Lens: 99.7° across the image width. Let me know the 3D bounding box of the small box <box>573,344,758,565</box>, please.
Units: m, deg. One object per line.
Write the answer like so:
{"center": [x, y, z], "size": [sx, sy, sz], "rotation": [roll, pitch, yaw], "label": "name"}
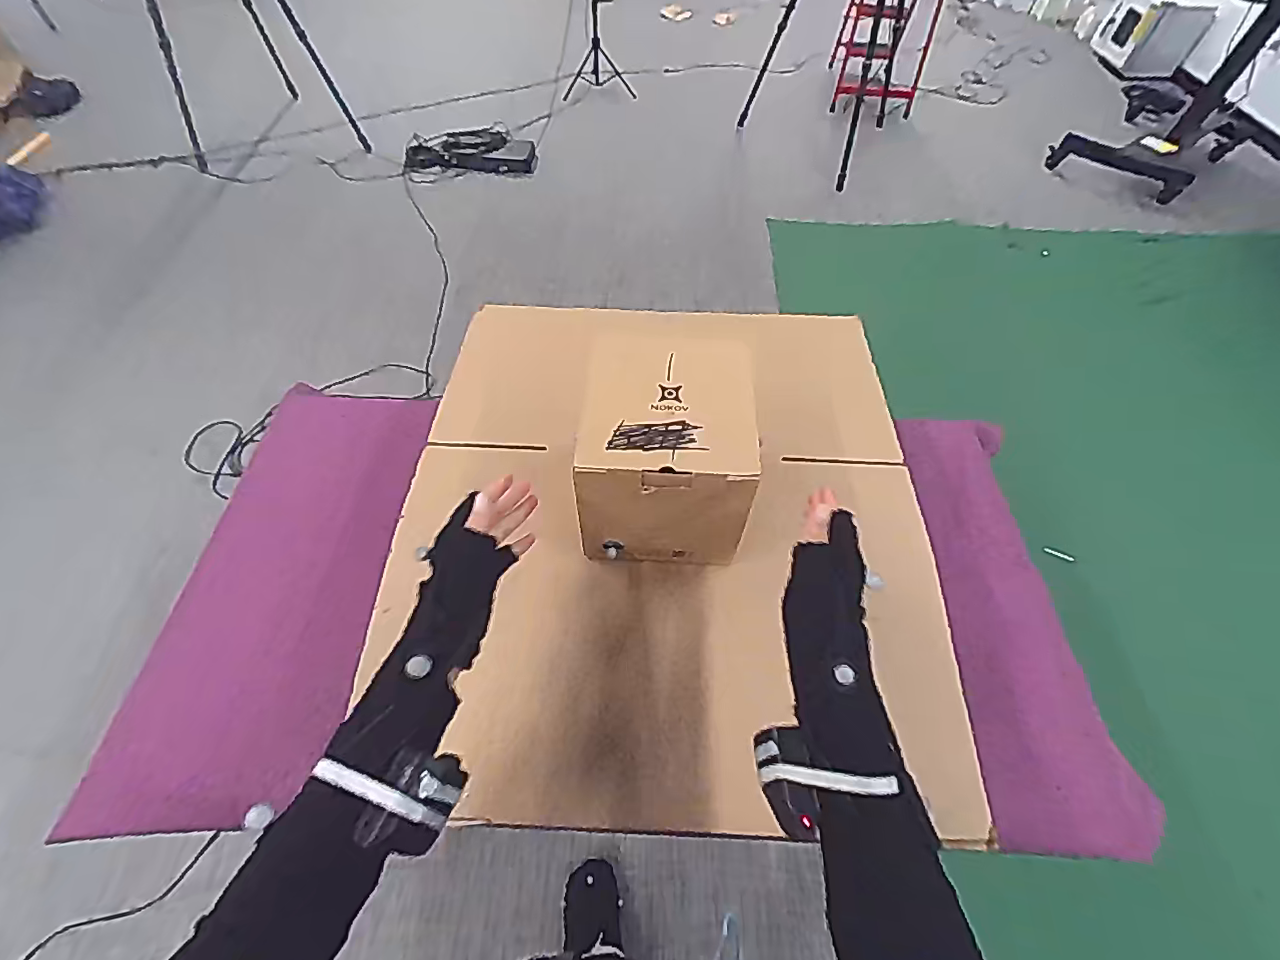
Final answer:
{"center": [0.026, -0.022, 0.582], "size": [0.168, 0.176, 0.179], "rotation": [3, 54, 1], "label": "small box"}
